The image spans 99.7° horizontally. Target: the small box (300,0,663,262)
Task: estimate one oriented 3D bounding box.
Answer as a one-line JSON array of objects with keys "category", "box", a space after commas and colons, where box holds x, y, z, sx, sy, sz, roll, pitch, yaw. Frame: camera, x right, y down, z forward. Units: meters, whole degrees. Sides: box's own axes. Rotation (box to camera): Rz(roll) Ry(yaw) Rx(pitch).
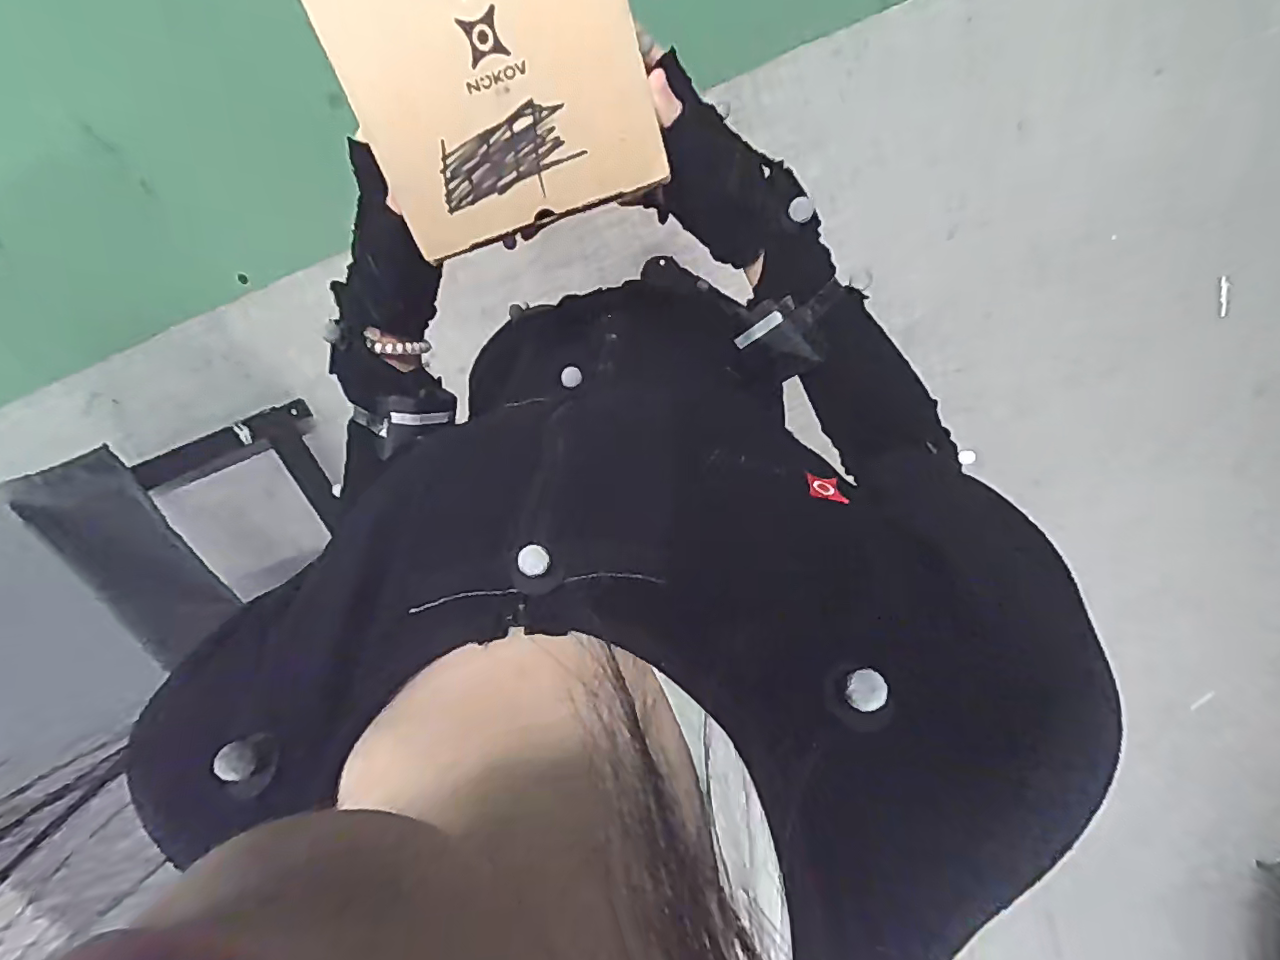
[{"category": "small box", "box": [-0.090, -0.272, 0.366, 0.168, 0.176, 0.179, -17, 119, 5]}]
